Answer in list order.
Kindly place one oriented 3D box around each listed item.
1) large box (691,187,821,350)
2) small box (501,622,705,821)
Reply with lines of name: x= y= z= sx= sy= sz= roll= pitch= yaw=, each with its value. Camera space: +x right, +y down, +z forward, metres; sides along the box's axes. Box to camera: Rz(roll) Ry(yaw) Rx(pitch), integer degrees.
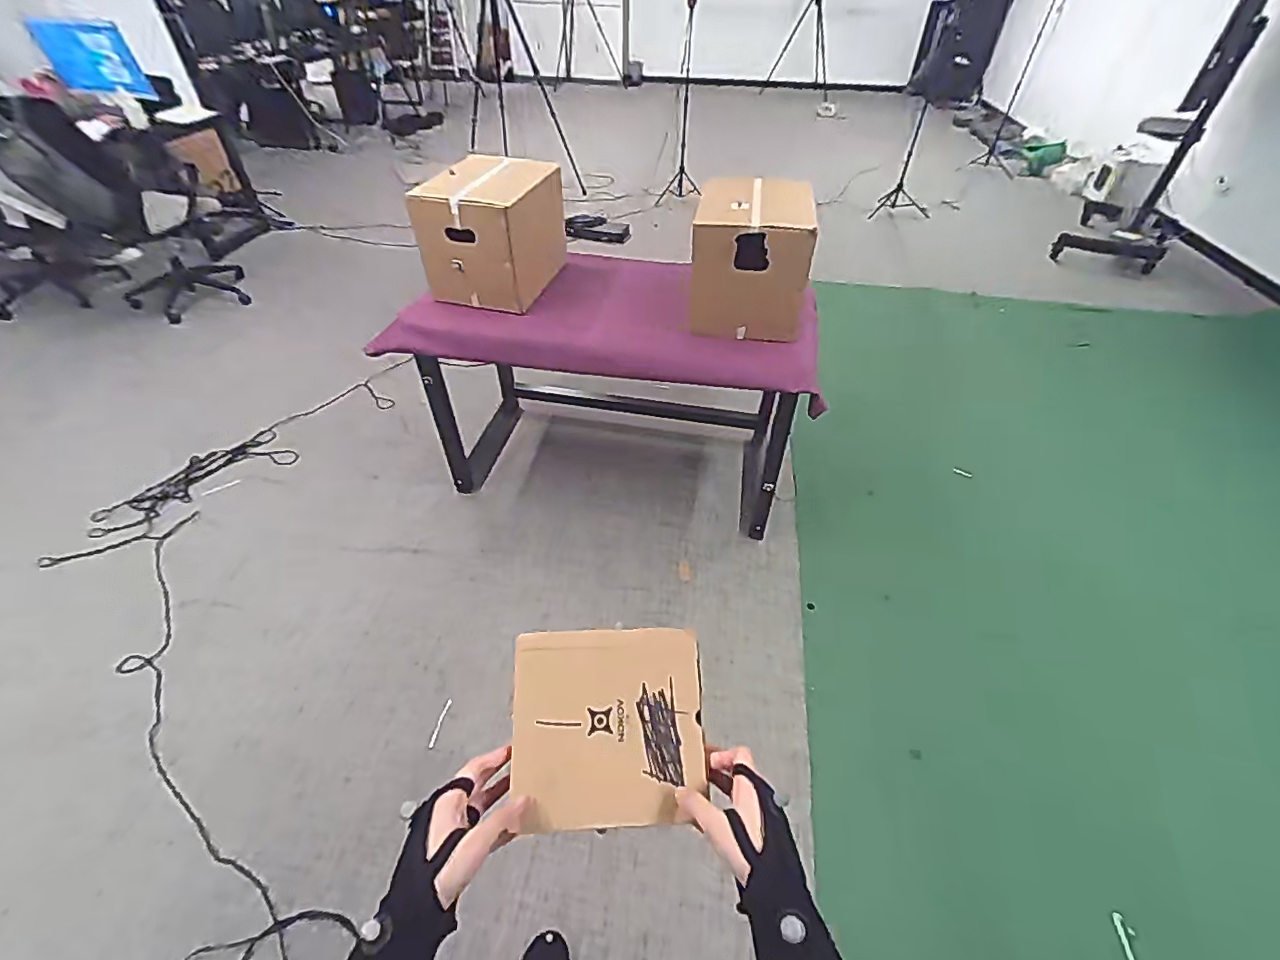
large box: x=0.327 y=-0.626 z=1.586 sx=0.320 sy=0.320 sz=0.408 roll=6 pitch=45 yaw=8
small box: x=-0.037 y=0.245 z=0.563 sx=0.179 sy=0.176 sz=0.168 roll=-1 pitch=65 yaw=-3
